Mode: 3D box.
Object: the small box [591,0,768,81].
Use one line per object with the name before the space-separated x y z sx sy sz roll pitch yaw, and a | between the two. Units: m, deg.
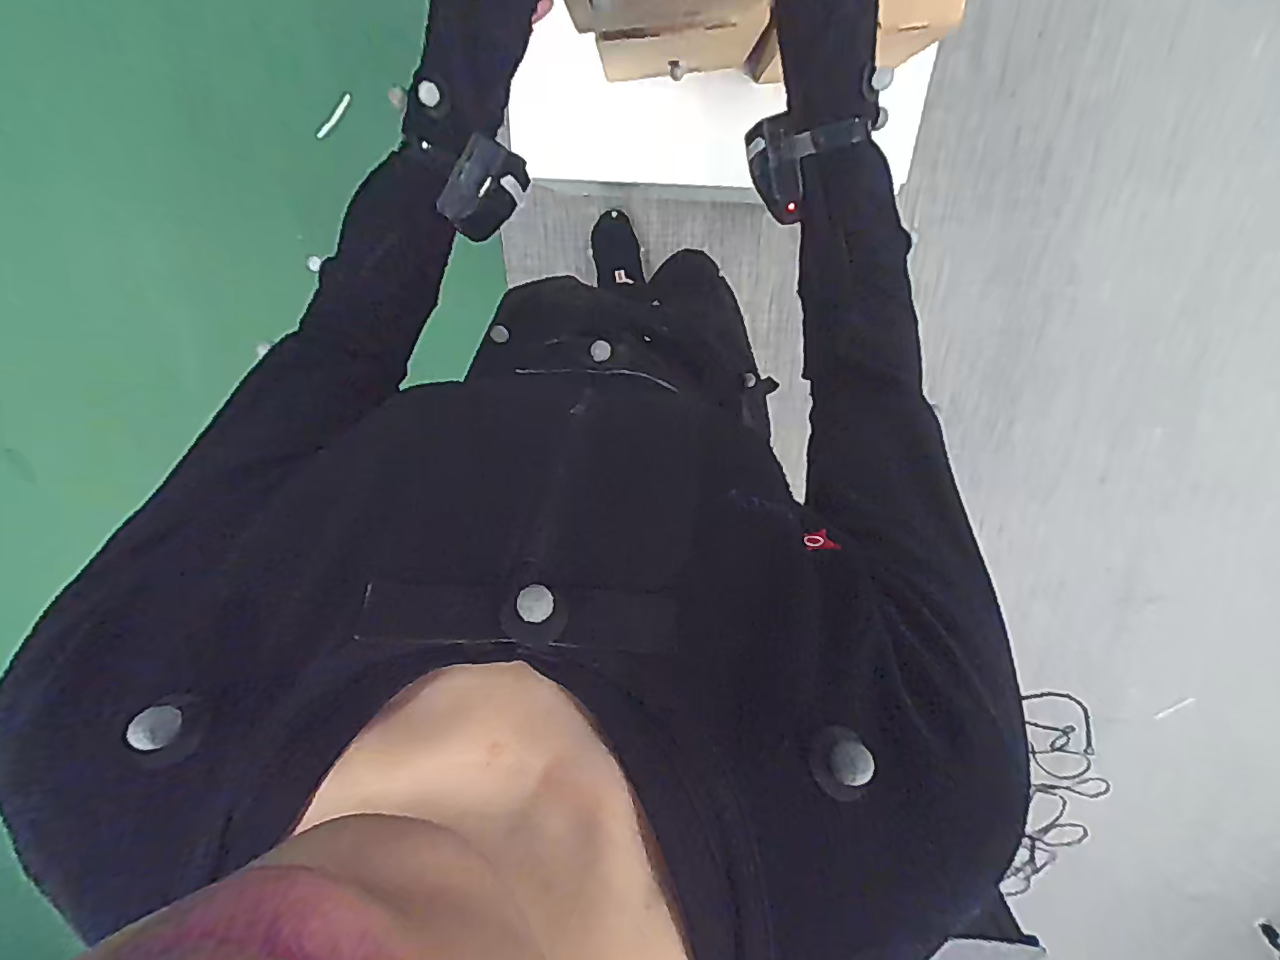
small box | 0.032 -0.534 0.543 0.168 0.176 0.179 -4 115 4
